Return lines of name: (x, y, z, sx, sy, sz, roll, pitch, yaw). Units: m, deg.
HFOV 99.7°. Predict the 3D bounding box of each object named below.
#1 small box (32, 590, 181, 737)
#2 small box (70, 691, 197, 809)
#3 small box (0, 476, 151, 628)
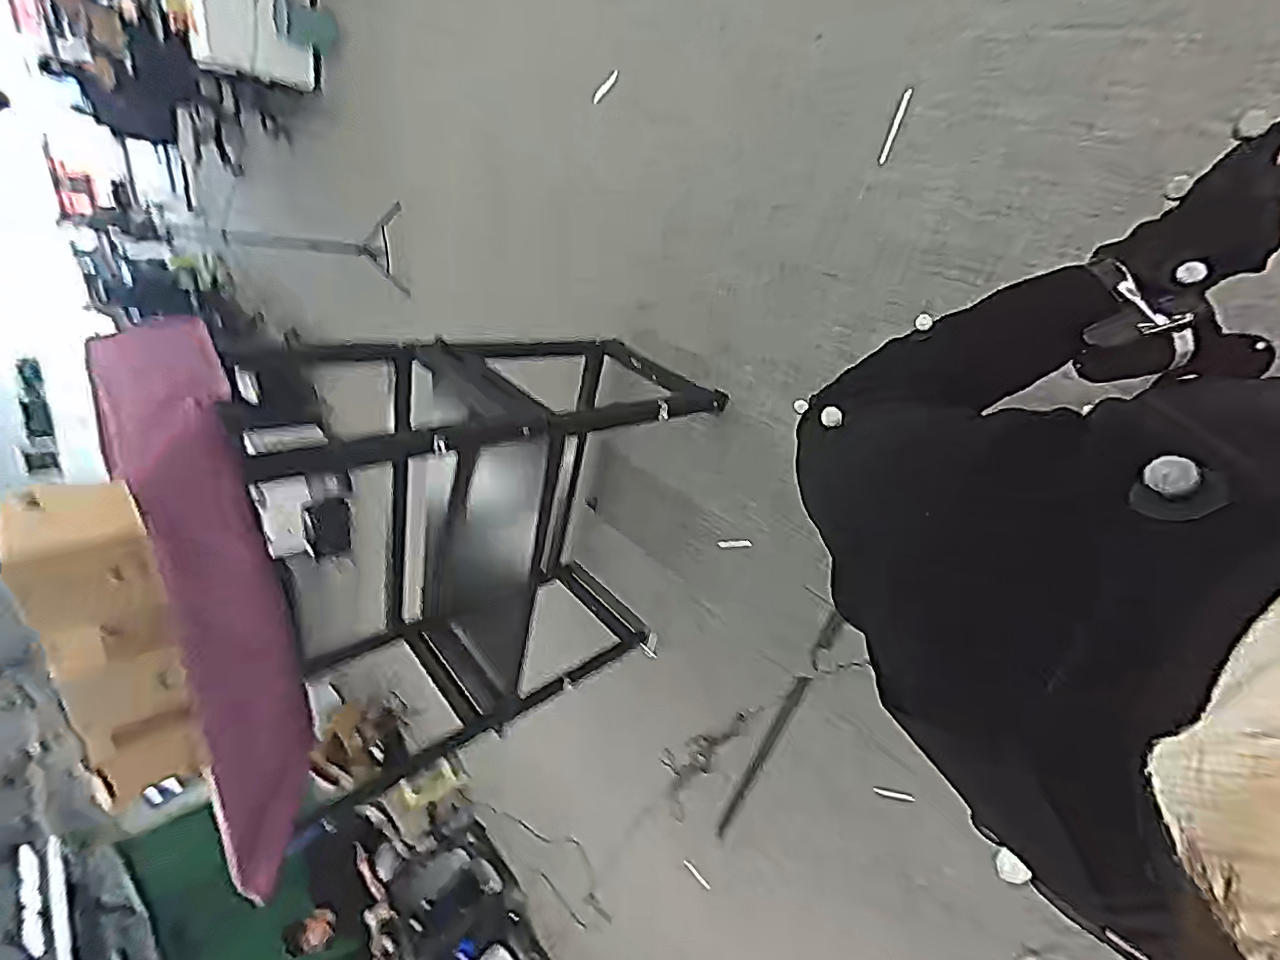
small box: (-1.008, 0.337, 1.030, 0.168, 0.176, 0.179, 39, 126, 32)
small box: (-1.065, 0.533, 1.143, 0.179, 0.176, 0.168, 33, 123, 36)
small box: (-0.949, 0.107, 0.903, 0.179, 0.176, 0.168, 39, 127, 31)
